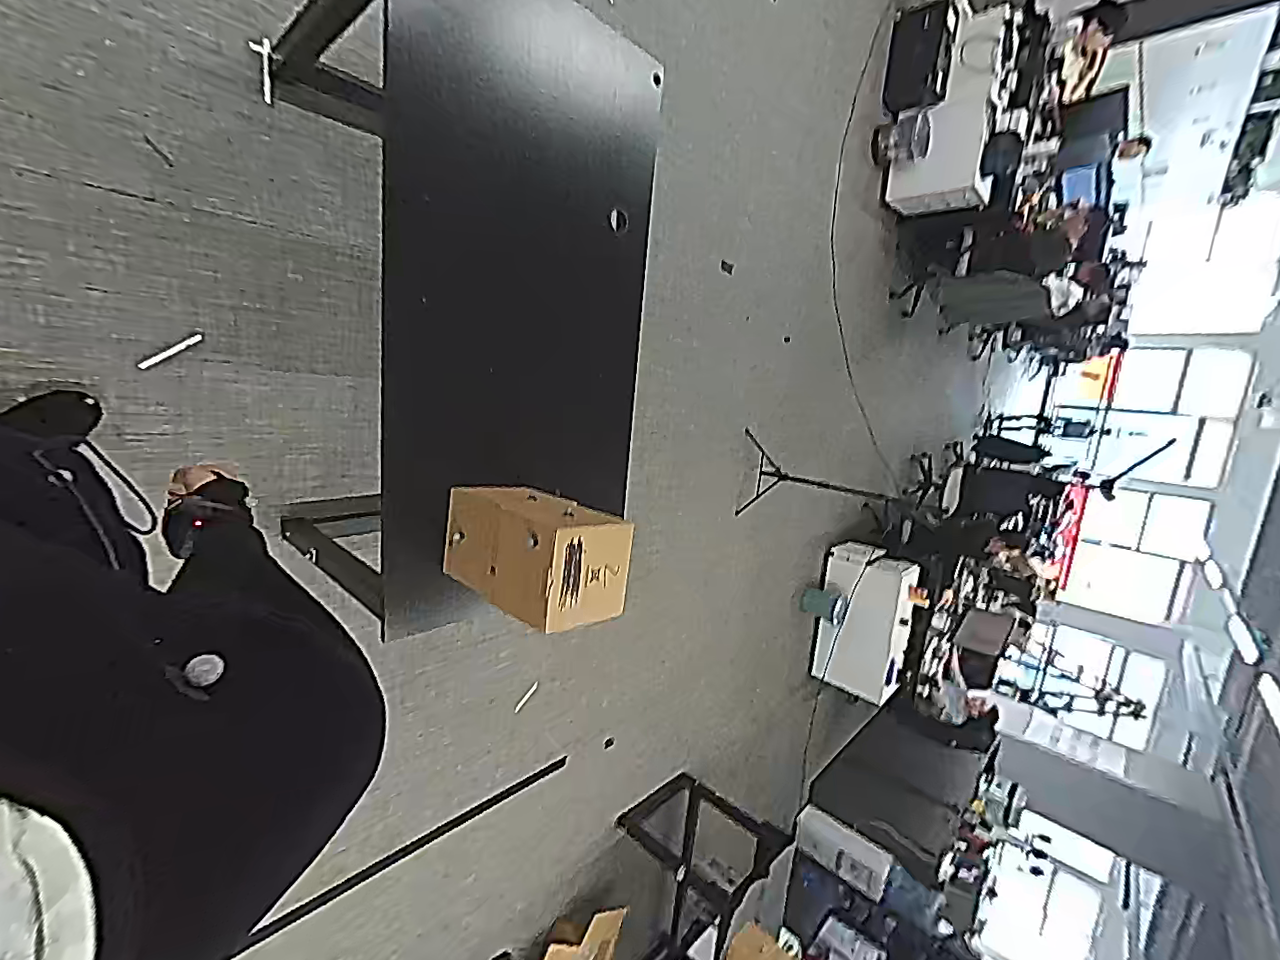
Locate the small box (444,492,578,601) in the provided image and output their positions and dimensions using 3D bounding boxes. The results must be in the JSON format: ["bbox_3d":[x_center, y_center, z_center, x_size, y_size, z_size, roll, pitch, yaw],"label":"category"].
[{"bbox_3d":[-0.247,0.116,1.033,0.179,0.176,0.168,2,98,-48],"label":"small box"}]
